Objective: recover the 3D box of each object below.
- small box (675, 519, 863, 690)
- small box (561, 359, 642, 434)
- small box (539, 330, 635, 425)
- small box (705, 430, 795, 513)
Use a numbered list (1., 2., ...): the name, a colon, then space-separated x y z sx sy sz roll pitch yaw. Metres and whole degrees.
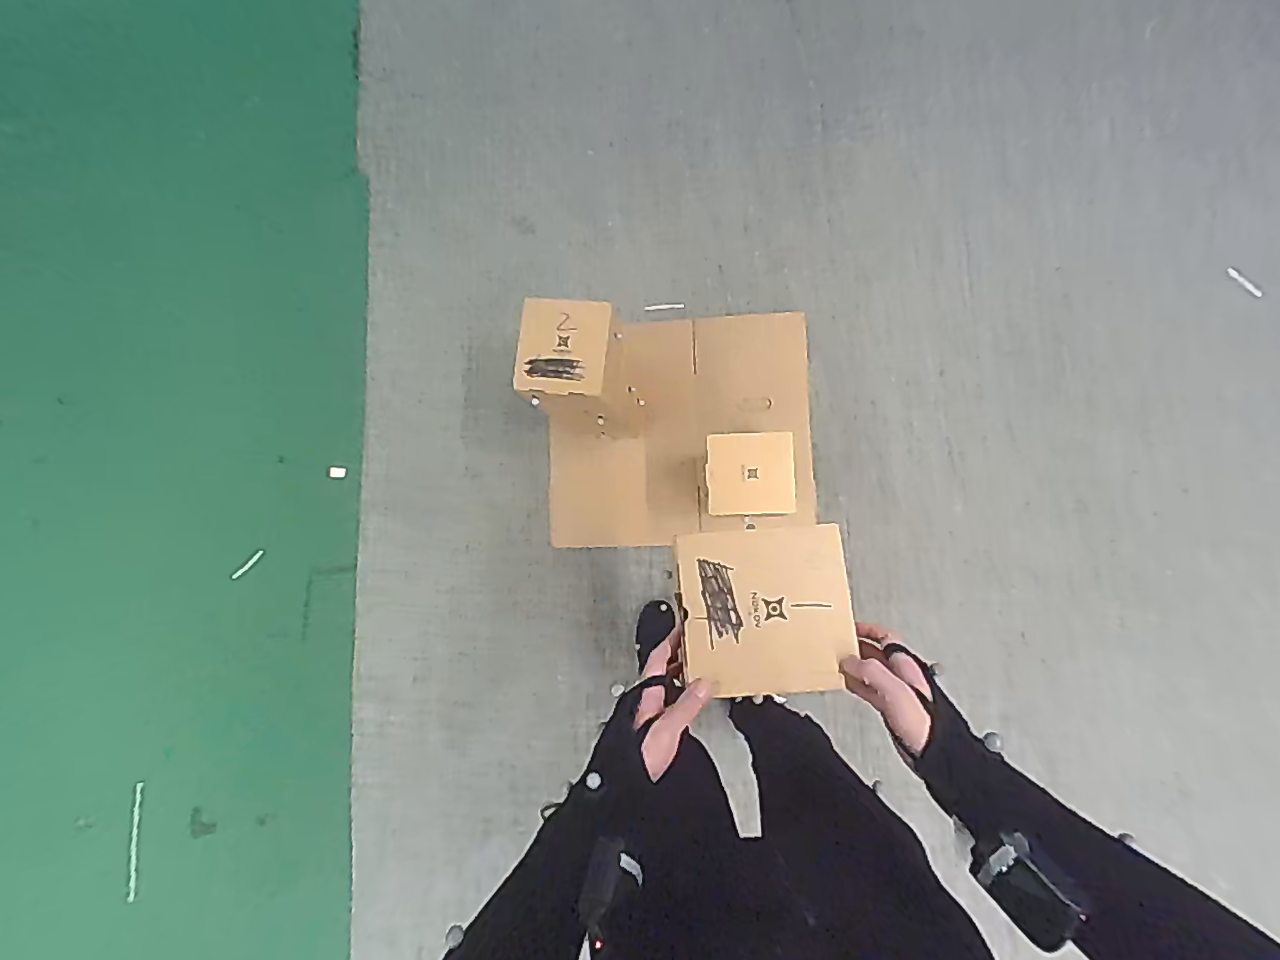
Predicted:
1. small box: 0.133 0.144 0.630 0.179 0.176 0.168 -4 77 0
2. small box: -0.094 -0.215 1.379 0.179 0.176 0.168 6 85 7
3. small box: -0.111 -0.223 1.214 0.179 0.176 0.168 6 85 7
4. small box: 0.229 -0.014 1.161 0.179 0.176 0.168 -2 86 8
